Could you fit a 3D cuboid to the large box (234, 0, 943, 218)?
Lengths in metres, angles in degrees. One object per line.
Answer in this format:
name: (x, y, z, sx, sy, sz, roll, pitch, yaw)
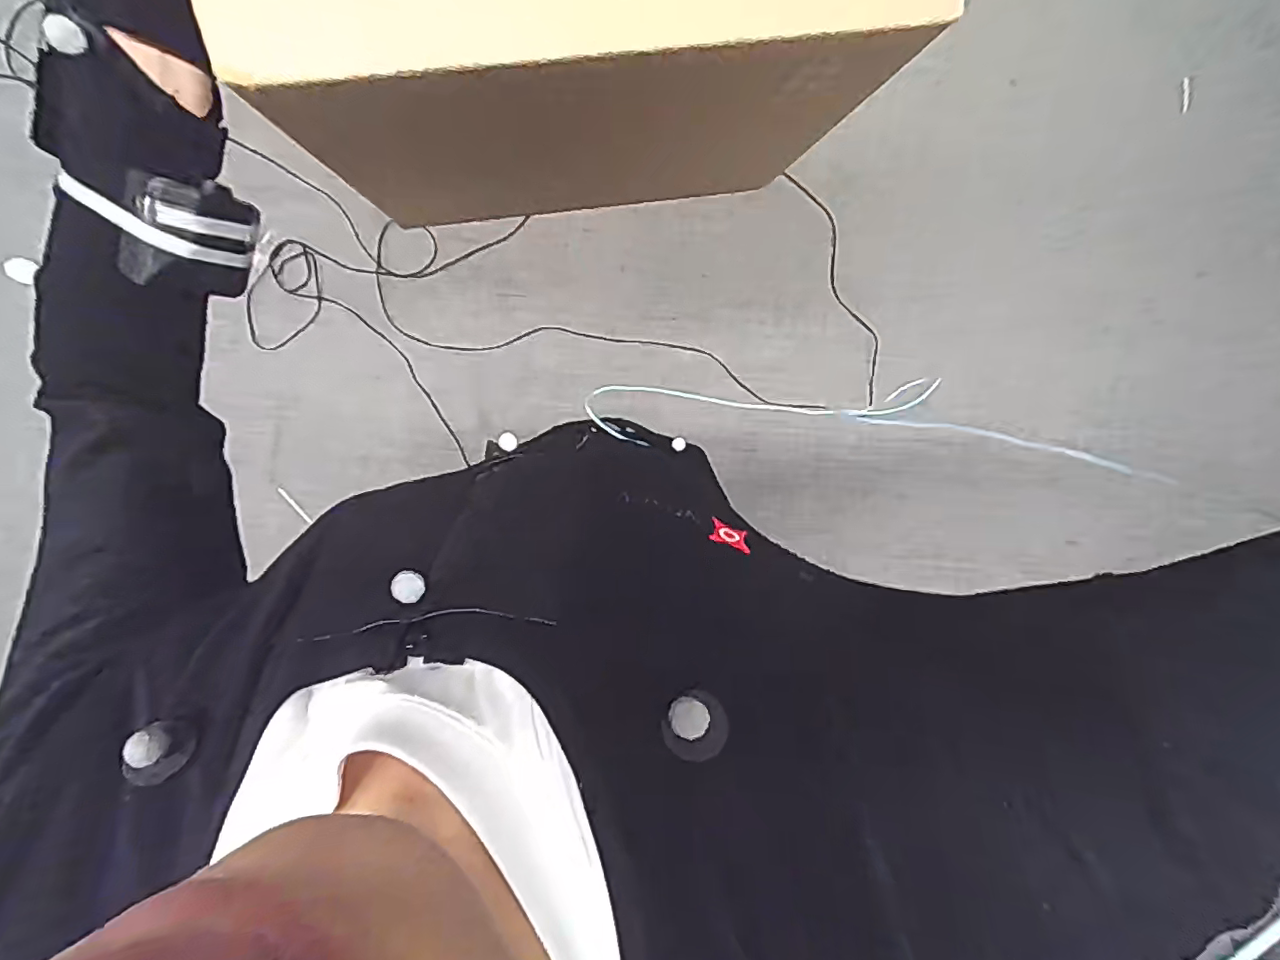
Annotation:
large box: (-0.055, -0.423, 0.411, 0.408, 0.320, 0.320, -10, 104, -7)
